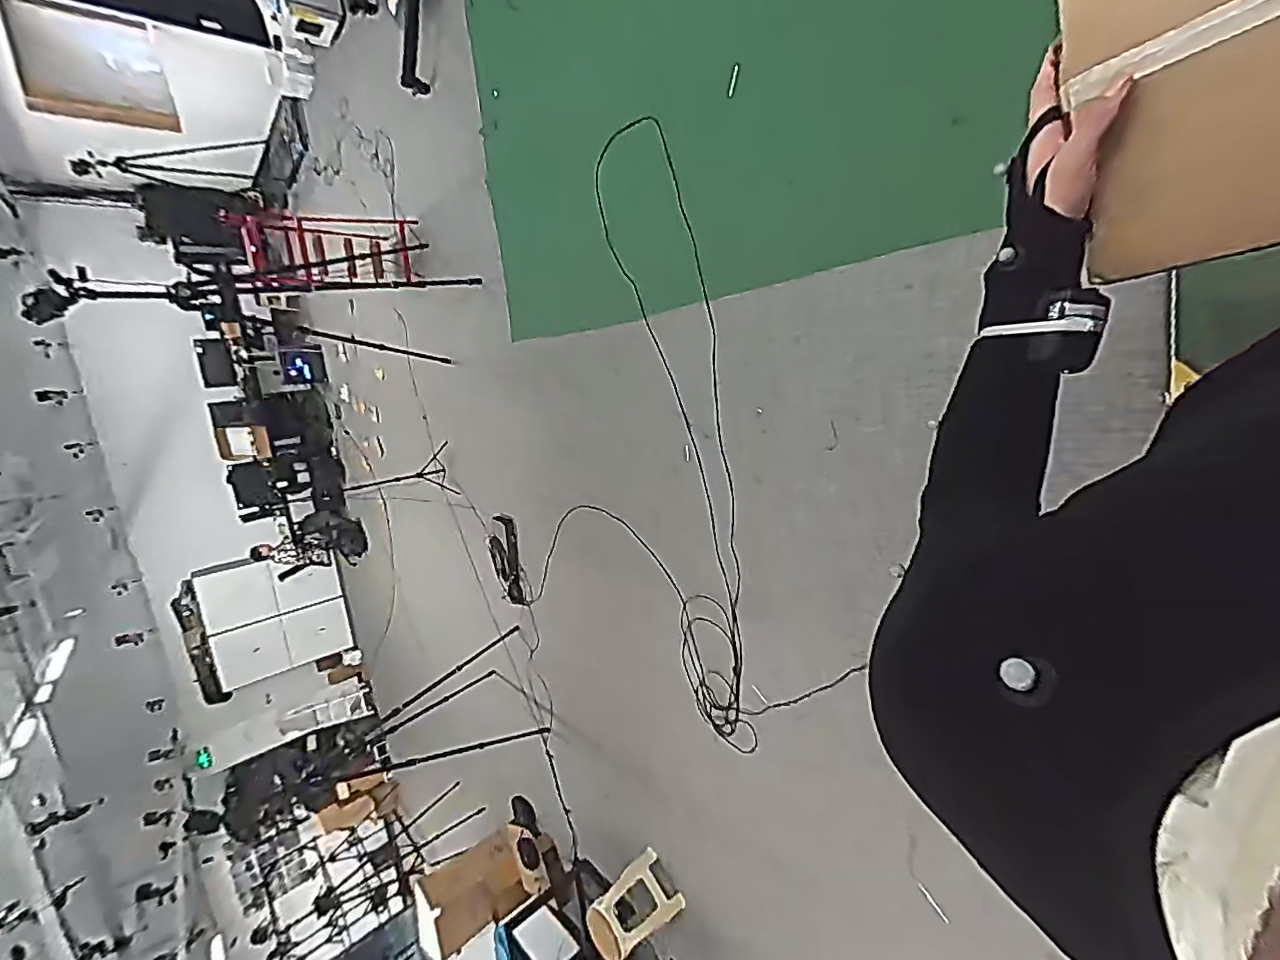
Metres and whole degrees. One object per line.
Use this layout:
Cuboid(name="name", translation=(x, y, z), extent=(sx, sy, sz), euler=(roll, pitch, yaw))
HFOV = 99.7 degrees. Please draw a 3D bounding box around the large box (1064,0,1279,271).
Cuboid(name="large box", translation=(0.597, -0.374, 0.391), extent=(0.408, 0.320, 0.320), euler=(-3, 104, 50))
